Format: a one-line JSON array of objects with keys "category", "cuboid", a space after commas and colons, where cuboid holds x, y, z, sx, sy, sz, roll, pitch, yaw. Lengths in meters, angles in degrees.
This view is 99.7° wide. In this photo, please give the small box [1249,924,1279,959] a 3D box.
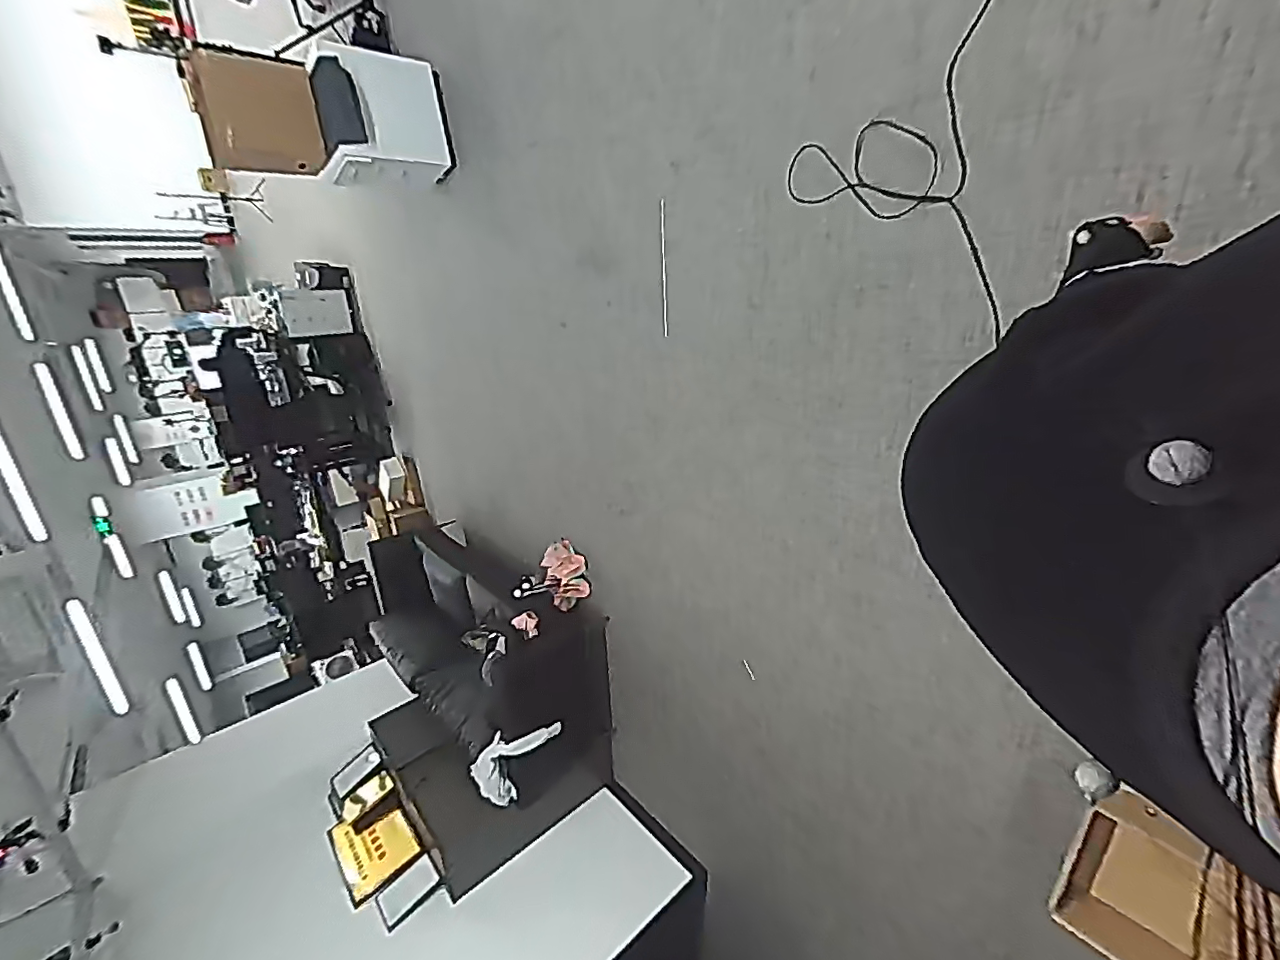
[{"category": "small box", "cuboid": [1.339, 1.031, 1.060, 0.179, 0.176, 0.168, 15, 116, 43]}]
